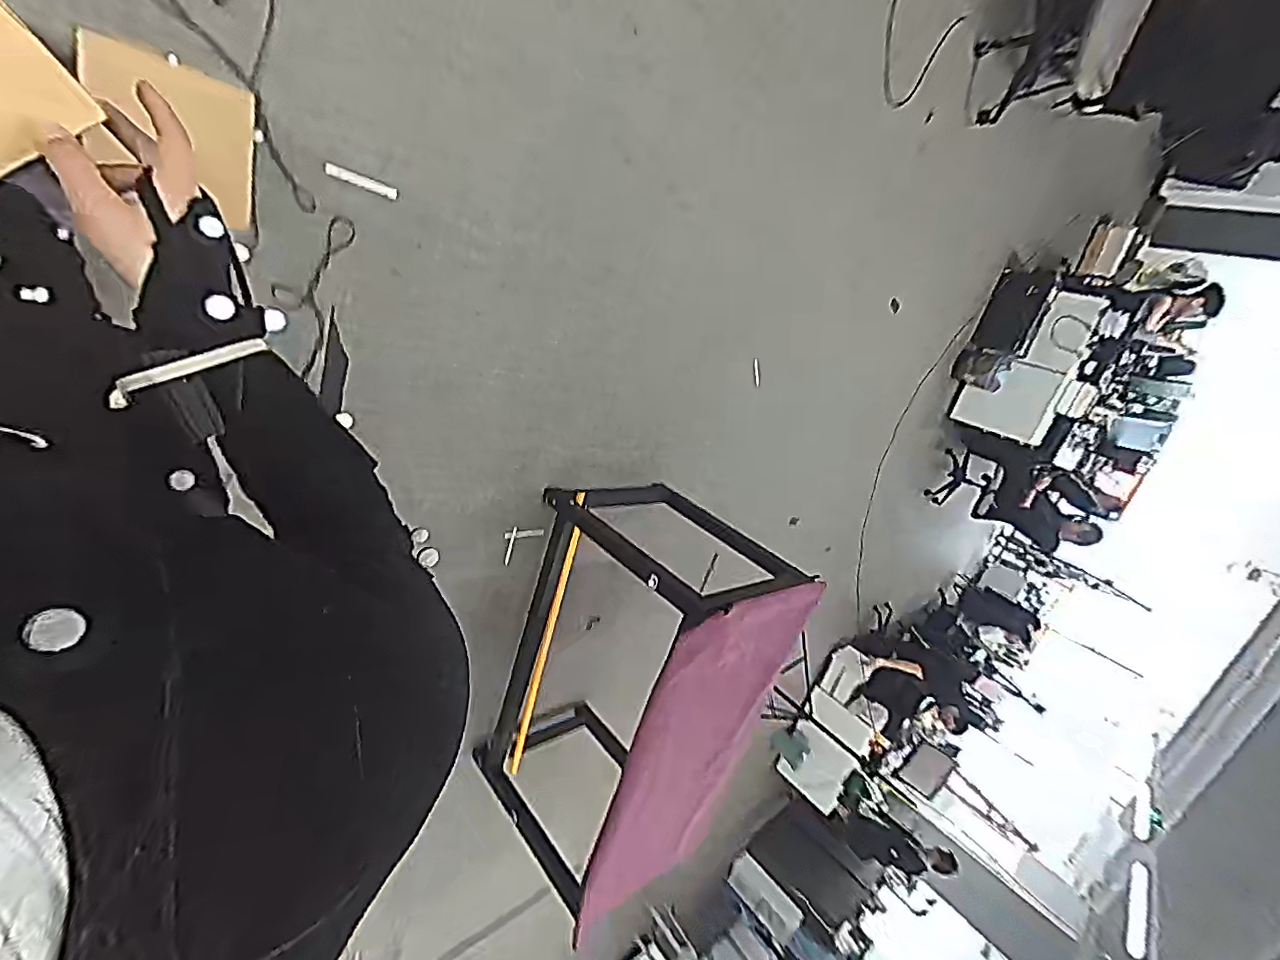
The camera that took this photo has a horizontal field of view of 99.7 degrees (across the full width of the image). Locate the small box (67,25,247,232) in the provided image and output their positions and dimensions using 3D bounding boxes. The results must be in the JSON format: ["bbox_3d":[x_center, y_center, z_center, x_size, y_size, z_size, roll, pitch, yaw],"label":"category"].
[{"bbox_3d":[-0.650,-0.459,0.727,0.168,0.176,0.179,-2,117,-45],"label":"small box"}]
